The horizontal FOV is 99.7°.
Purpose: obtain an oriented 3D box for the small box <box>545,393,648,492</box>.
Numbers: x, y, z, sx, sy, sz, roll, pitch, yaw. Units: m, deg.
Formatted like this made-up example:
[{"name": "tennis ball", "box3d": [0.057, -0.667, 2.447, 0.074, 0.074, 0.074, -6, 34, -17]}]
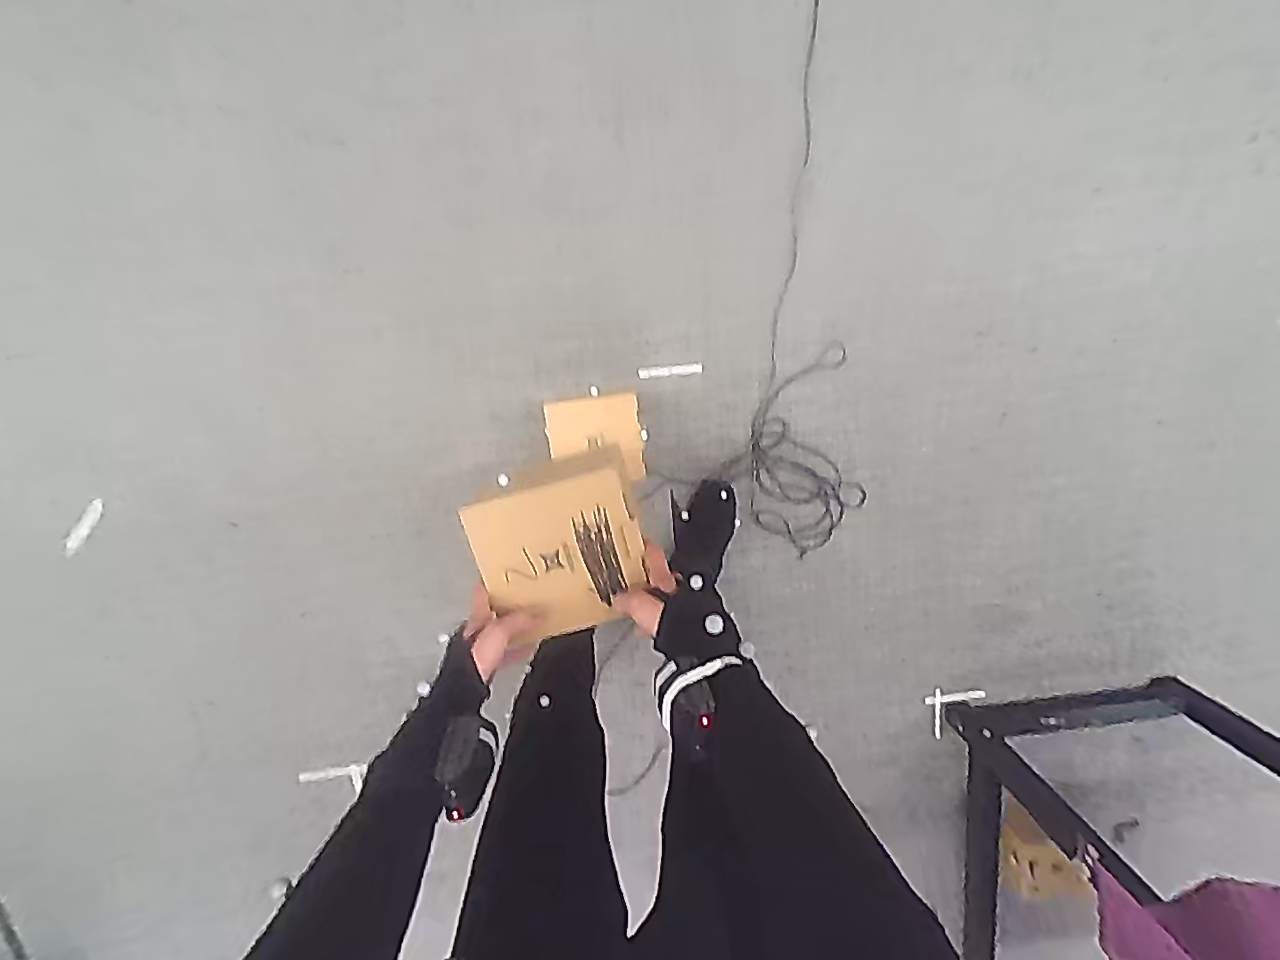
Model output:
[{"name": "small box", "box3d": [-0.080, -0.081, 1.087, 0.179, 0.176, 0.168, -7, 103, 0]}]
